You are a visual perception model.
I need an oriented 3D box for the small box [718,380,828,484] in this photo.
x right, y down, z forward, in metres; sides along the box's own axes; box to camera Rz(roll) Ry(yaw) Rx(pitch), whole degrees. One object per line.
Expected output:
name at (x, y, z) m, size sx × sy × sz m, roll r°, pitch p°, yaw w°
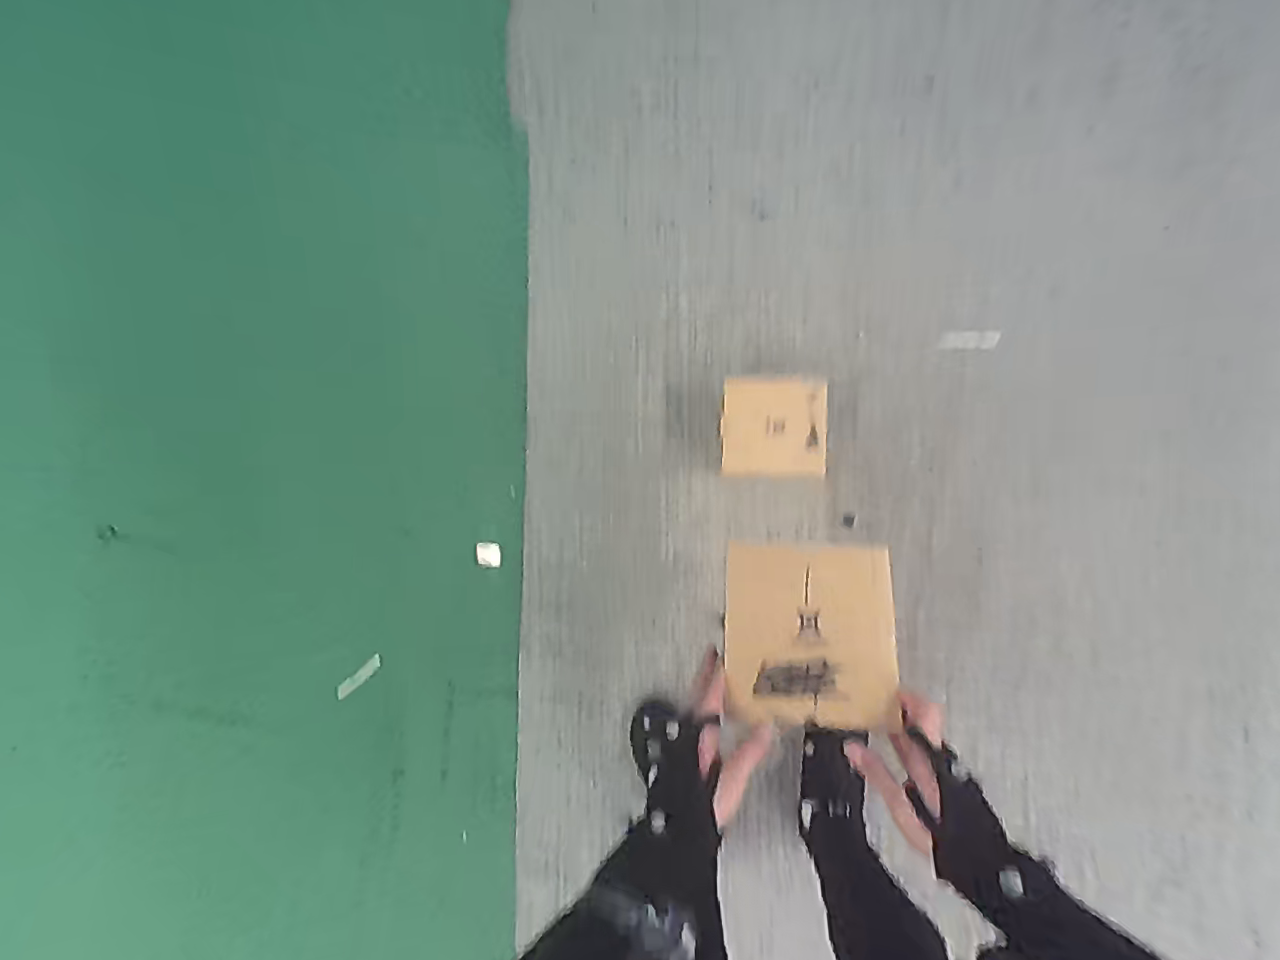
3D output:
small box at (0.234, -0.081, 0.986) m, size 0.179 × 0.176 × 0.168 m, roll 2°, pitch 87°, yaw 7°
